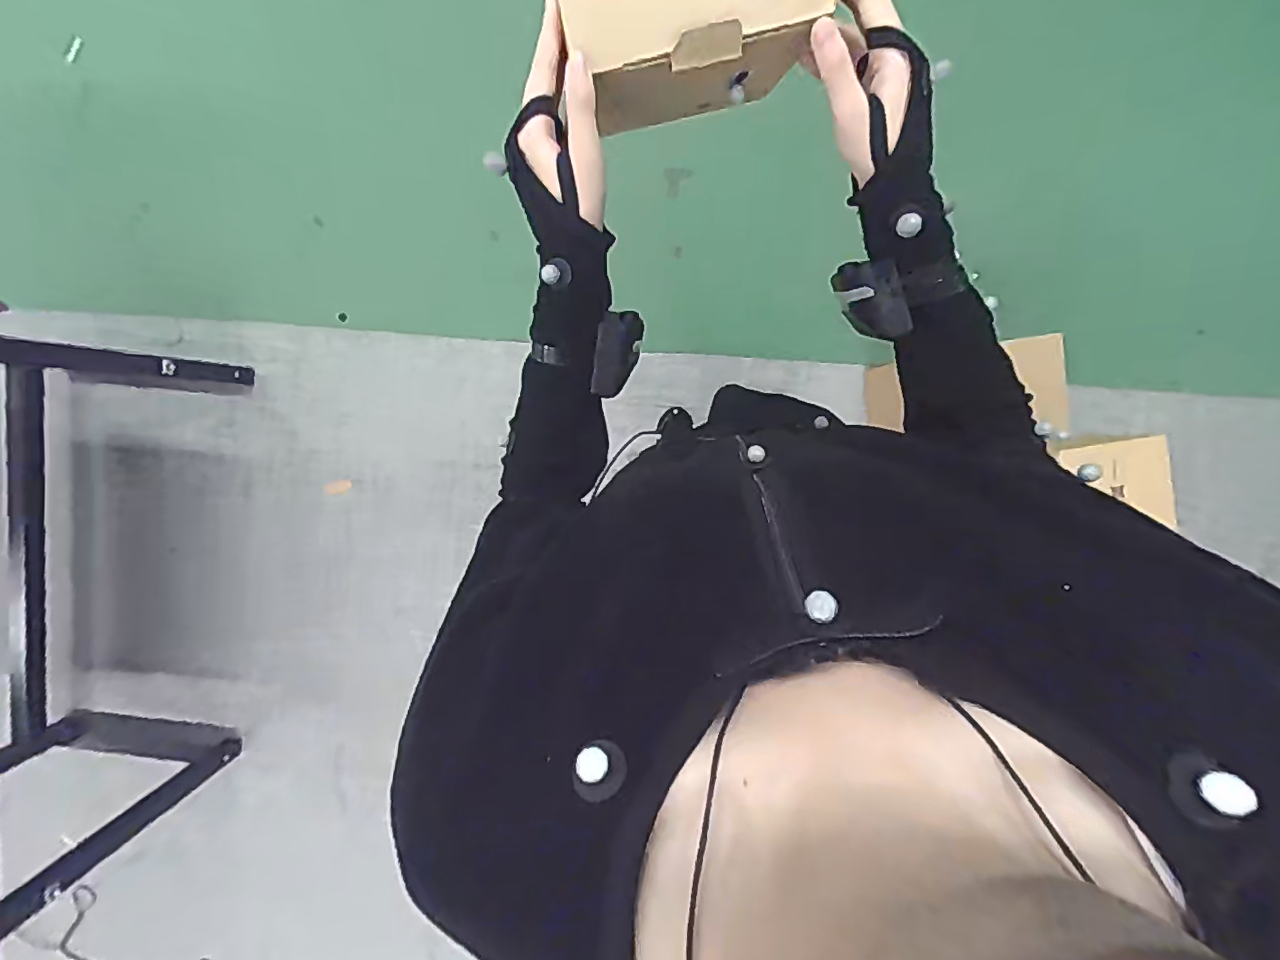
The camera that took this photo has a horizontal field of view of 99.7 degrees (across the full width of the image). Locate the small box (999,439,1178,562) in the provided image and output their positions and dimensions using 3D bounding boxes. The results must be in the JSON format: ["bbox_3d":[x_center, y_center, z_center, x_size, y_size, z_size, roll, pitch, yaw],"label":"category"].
[{"bbox_3d":[0.748,0.027,0.918,0.168,0.176,0.179,-9,93,4],"label":"small box"}]

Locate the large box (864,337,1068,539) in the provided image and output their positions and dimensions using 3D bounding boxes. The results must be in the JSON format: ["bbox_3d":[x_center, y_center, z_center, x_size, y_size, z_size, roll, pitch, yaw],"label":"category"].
[{"bbox_3d":[0.774,-0.096,1.318,0.320,0.320,0.408,-9,94,3],"label":"large box"}]

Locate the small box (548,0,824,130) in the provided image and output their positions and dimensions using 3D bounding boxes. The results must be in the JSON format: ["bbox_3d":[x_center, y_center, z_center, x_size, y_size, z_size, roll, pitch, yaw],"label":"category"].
[{"bbox_3d":[0.014,-0.369,0.377,0.168,0.176,0.179,-12,111,2],"label":"small box"}]
